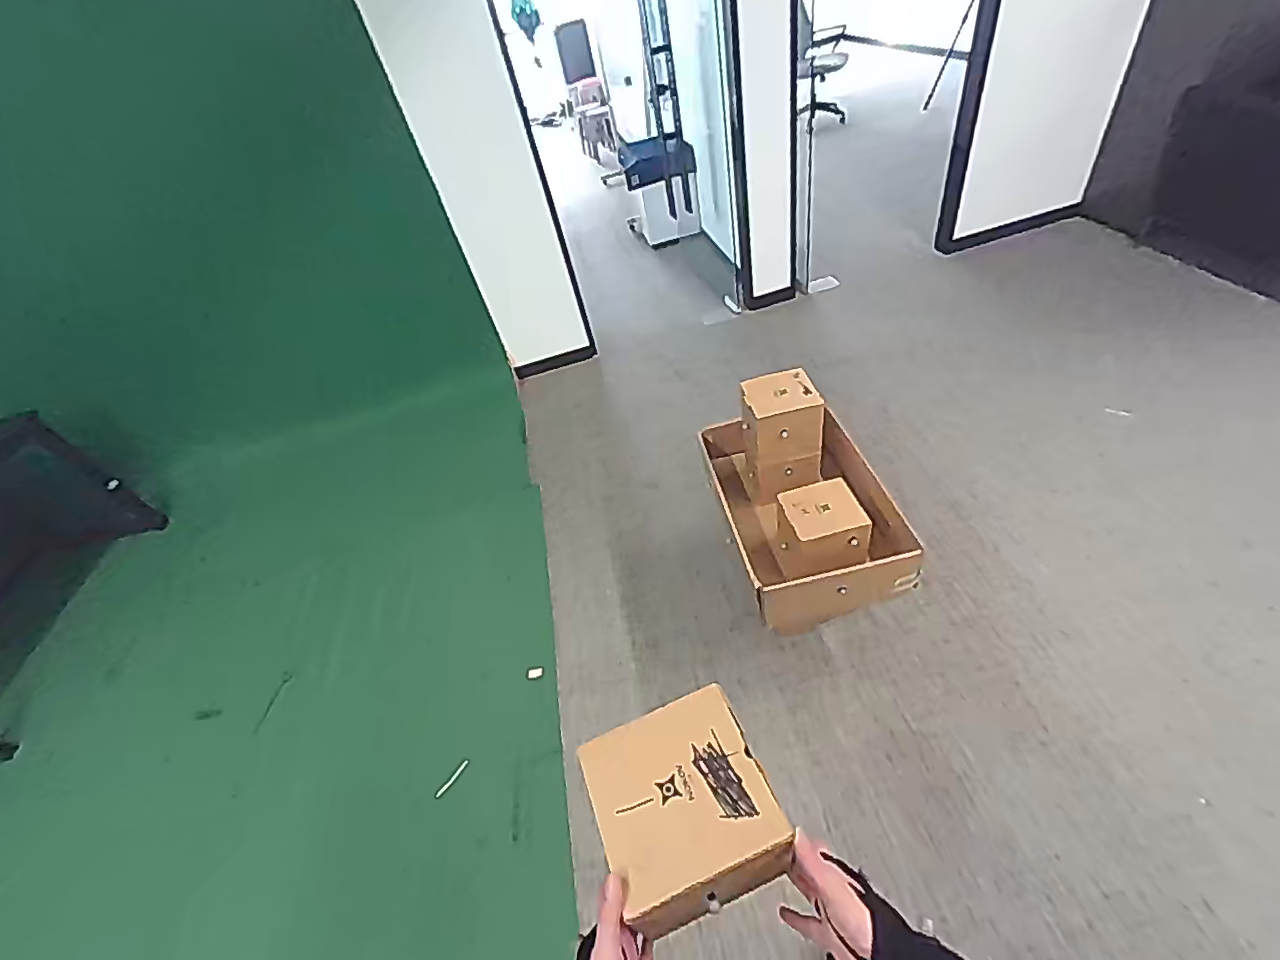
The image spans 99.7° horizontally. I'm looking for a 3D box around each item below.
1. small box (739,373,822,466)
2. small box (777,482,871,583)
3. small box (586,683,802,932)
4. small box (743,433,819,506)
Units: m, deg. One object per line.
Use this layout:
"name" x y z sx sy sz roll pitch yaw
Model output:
"small box" 0.379 -0.159 1.462 0.179 0.176 0.168 -13 45 3
"small box" 0.458 0.136 1.373 0.179 0.176 0.168 -15 43 0
"small box" 0.058 0.366 0.607 0.179 0.176 0.168 -21 44 -8
"small box" 0.407 -0.043 1.574 0.179 0.176 0.168 -11 44 2
